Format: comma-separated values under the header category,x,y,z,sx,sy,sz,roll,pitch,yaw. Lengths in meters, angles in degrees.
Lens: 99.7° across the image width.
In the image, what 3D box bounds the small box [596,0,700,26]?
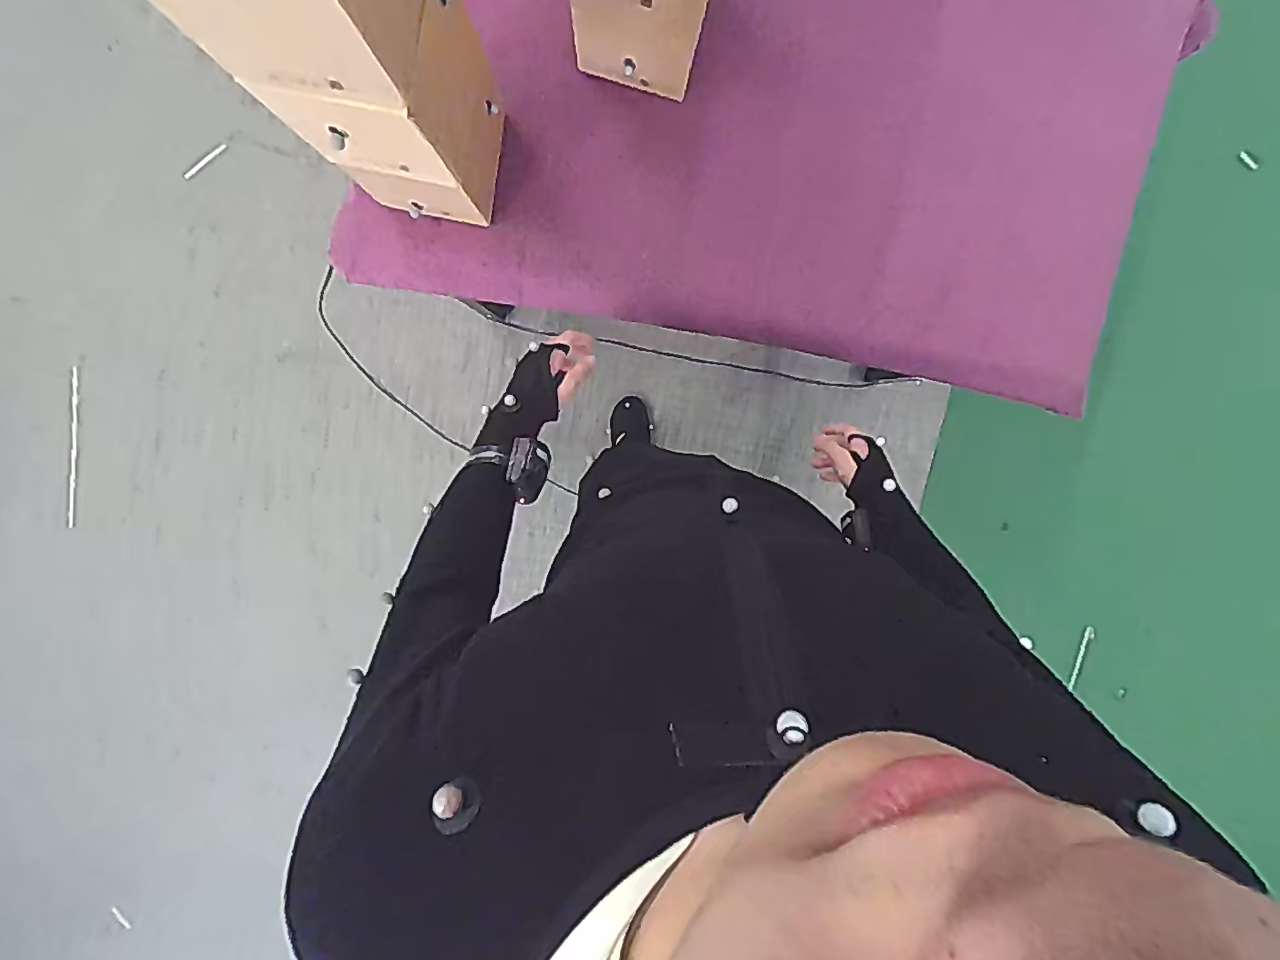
category,x,y,z,sx,sy,sz,roll,pitch,yaw
small box,0.009,-0.642,0.566,0.168,0.176,0.179,13,98,-3

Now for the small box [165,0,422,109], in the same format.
category,x,y,z,sx,sy,sz,roll,pitch,yaw
small box,-0.283,-0.439,0.421,0.168,0.176,0.179,8,95,-2

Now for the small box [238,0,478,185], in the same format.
category,x,y,z,sx,sy,sz,roll,pitch,yaw
small box,-0.287,-0.452,0.585,0.168,0.176,0.179,11,95,-2

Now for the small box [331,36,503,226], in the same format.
category,x,y,z,sx,sy,sz,roll,pitch,yaw
small box,-0.294,-0.480,0.744,0.168,0.176,0.179,10,97,-3

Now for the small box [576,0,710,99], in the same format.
category,x,y,z,sx,sy,sz,roll,pitch,yaw
small box,0.011,-0.668,0.728,0.168,0.176,0.179,15,98,-3
